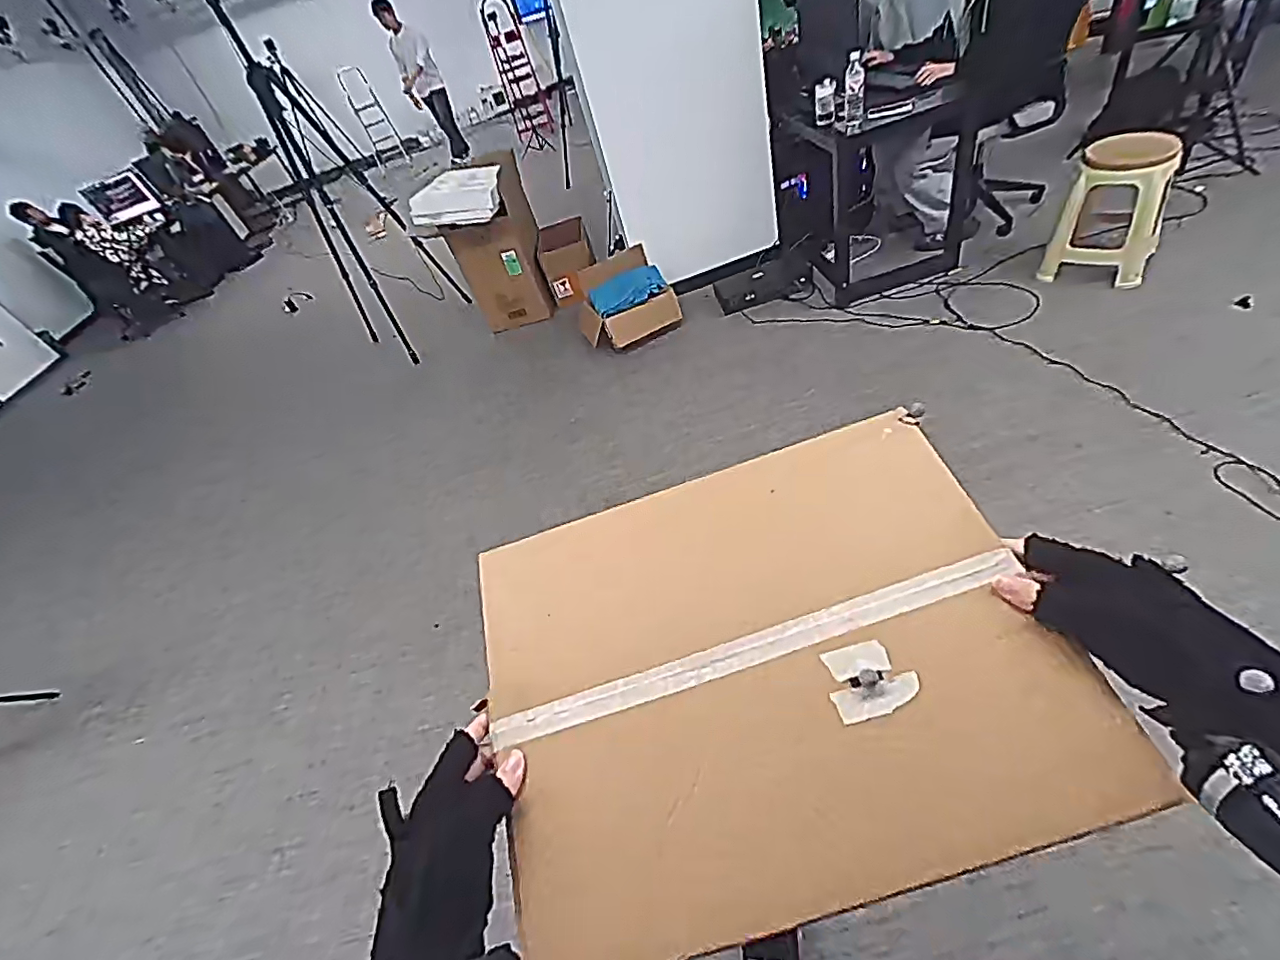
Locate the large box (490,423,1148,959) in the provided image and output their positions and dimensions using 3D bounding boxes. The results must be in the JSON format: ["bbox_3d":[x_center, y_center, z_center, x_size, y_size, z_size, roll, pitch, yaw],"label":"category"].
[{"bbox_3d":[0.116,0.212,0.537,0.408,0.320,0.320,-20,57,1],"label":"large box"}]
